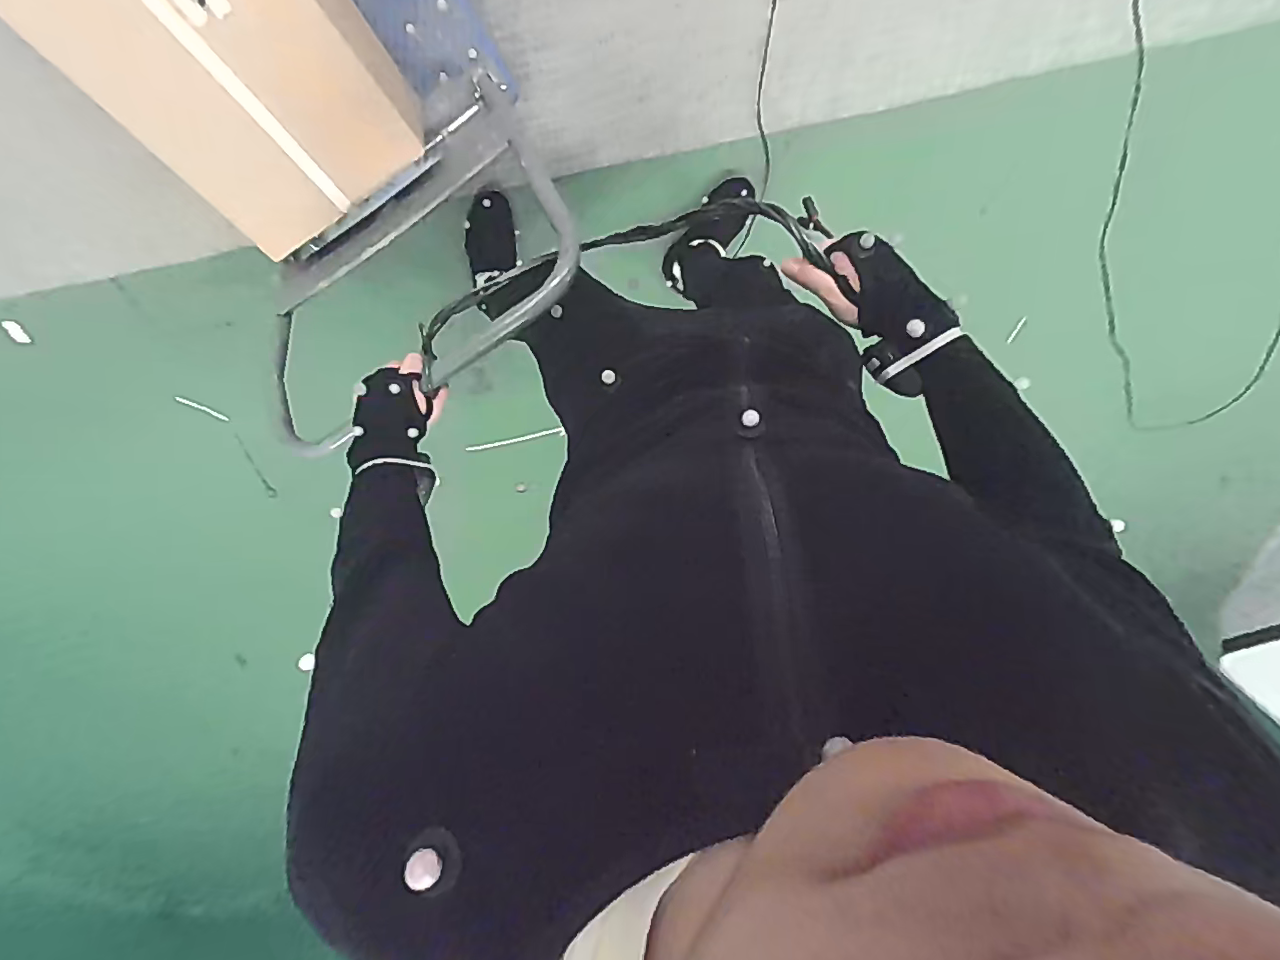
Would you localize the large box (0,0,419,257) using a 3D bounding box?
[{"bbox_3d":[-0.593,-0.638,0.808,0.320,0.320,0.408,-31,138,9],"label":"large box"}]
